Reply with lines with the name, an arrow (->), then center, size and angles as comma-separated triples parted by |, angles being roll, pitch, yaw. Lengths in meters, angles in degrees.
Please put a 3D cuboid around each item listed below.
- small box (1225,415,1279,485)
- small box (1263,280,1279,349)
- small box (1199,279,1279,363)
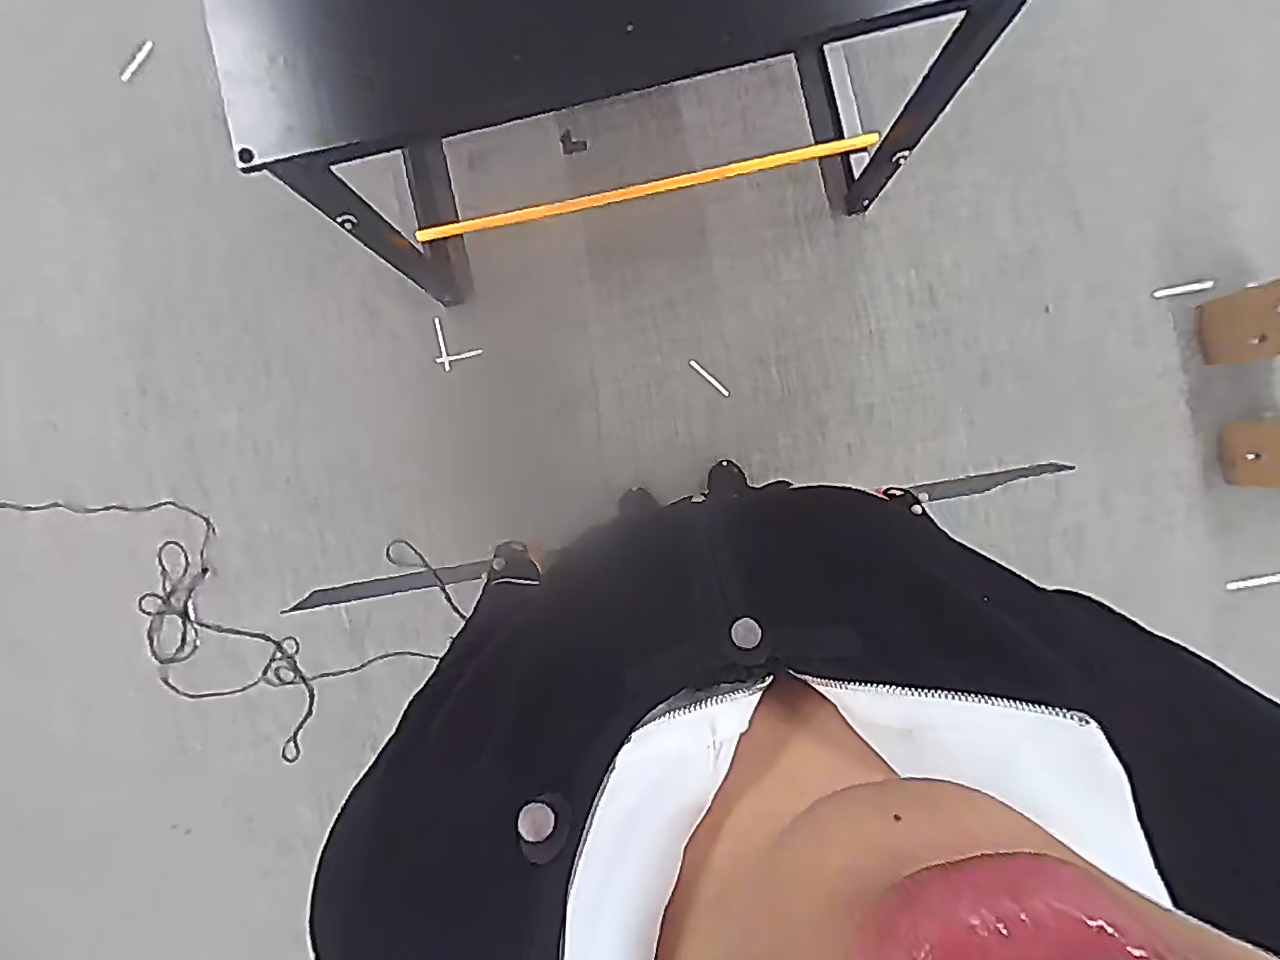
small box -> 1.628, -0.078, 1.350 | 0.179, 0.176, 0.168 | -10, 91, 4
small box -> 1.554, -0.399, 1.183 | 0.179, 0.176, 0.168 | -12, 89, 4
small box -> 1.567, -0.400, 1.345 | 0.168, 0.176, 0.179 | -13, 90, 2
